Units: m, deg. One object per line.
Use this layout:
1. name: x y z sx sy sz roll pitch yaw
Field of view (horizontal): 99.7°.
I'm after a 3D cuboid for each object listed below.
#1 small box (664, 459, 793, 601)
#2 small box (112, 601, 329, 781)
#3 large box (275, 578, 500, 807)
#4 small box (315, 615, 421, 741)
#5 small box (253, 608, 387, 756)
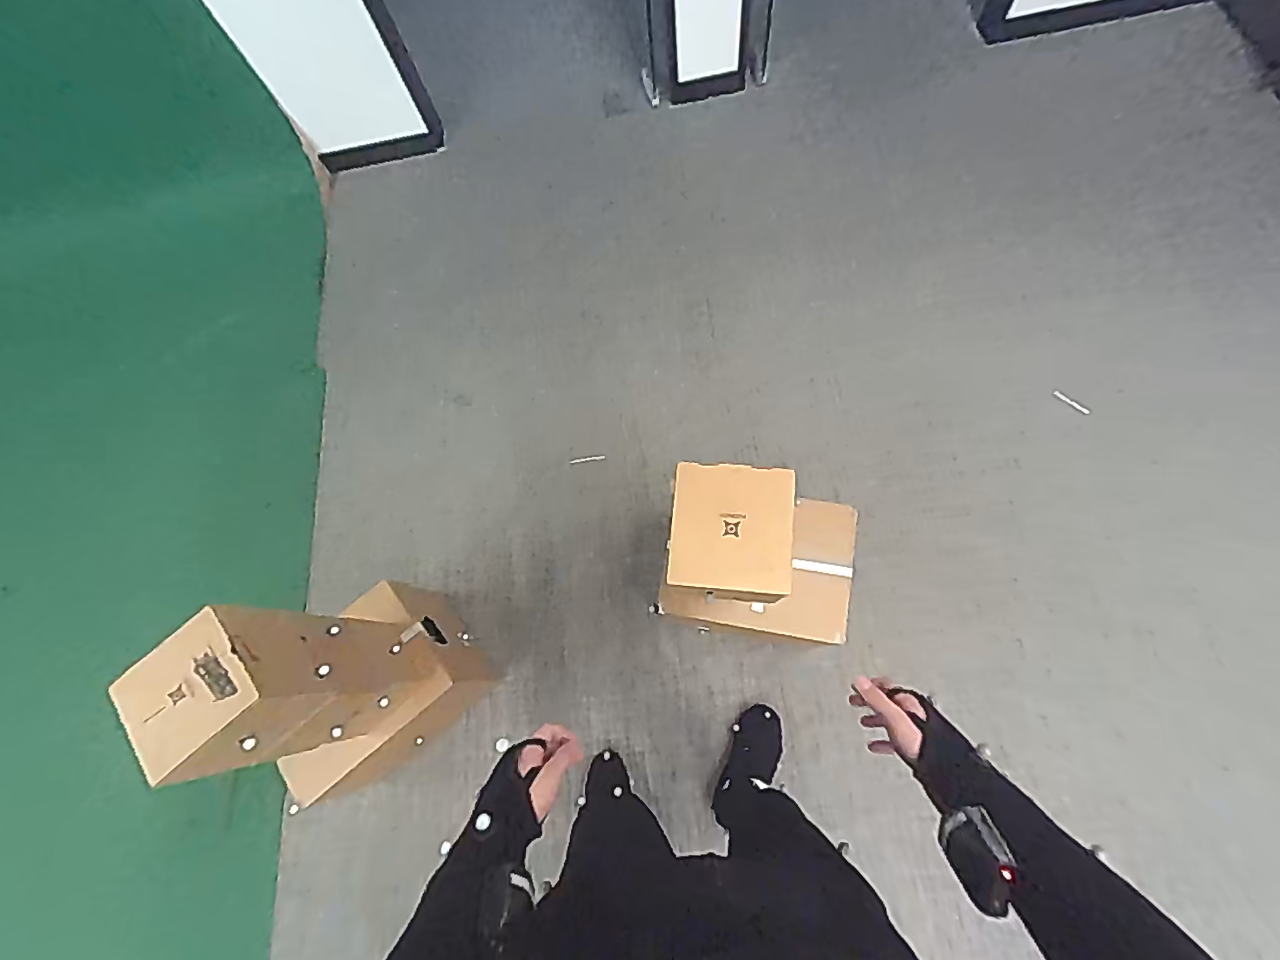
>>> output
1. small box: 0.131 0.082 0.808 0.168 0.176 0.179 4 72 8
2. small box: -0.610 0.306 0.813 0.179 0.176 0.168 -41 72 -6
3. large box: -0.636 0.508 1.355 0.408 0.320 0.320 -40 70 -7
4. small box: -0.587 0.404 1.123 0.179 0.176 0.168 -40 71 -8
5. small box: -0.598 0.356 0.968 0.168 0.176 0.179 -39 72 -6
